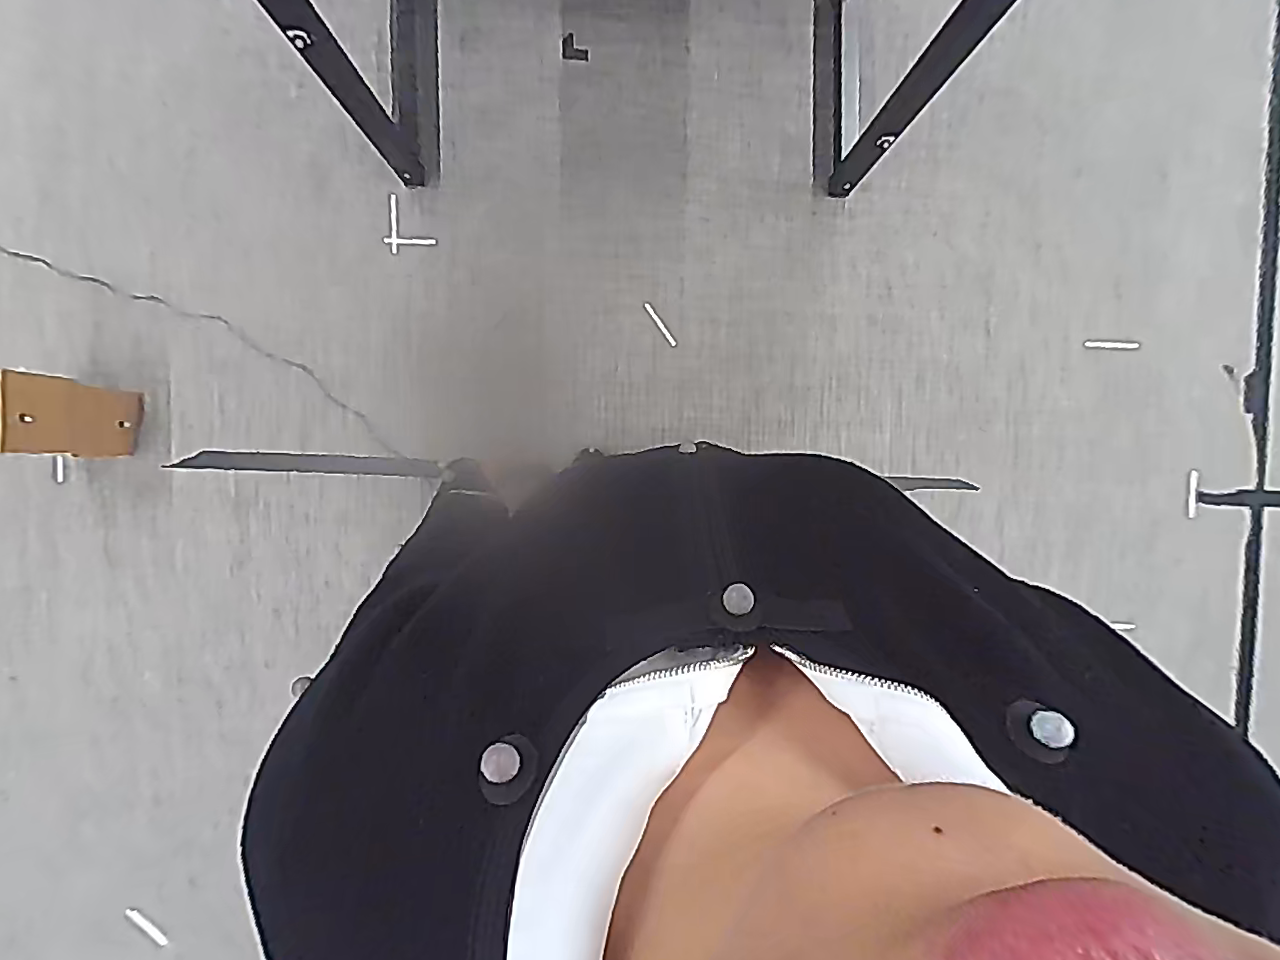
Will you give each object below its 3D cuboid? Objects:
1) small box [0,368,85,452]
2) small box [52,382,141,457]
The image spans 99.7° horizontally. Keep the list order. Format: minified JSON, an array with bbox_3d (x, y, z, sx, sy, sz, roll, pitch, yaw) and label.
[{"bbox_3d":[-1.388,-0.152,1.193,0.168,0.176,0.179,2,92,-3],"label":"small box"},{"bbox_3d":[-1.411,-0.156,1.357,0.168,0.176,0.179,8,92,-3],"label":"small box"}]
